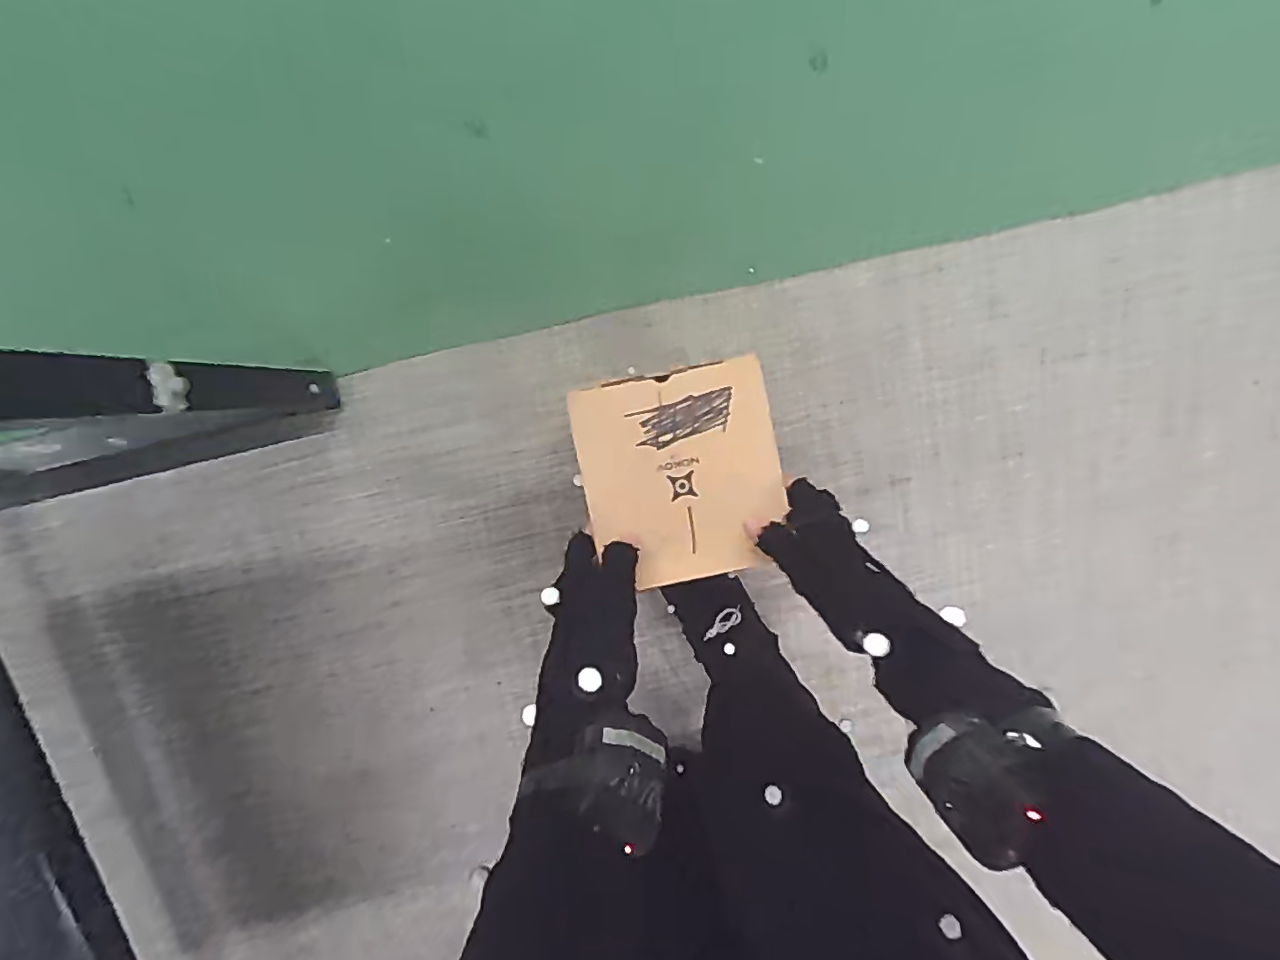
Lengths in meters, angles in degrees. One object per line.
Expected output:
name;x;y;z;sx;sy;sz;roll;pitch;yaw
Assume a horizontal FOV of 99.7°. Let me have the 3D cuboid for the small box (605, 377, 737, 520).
small box;0.039;-0.050;0.774;0.168;0.176;0.179;-5;100;0
